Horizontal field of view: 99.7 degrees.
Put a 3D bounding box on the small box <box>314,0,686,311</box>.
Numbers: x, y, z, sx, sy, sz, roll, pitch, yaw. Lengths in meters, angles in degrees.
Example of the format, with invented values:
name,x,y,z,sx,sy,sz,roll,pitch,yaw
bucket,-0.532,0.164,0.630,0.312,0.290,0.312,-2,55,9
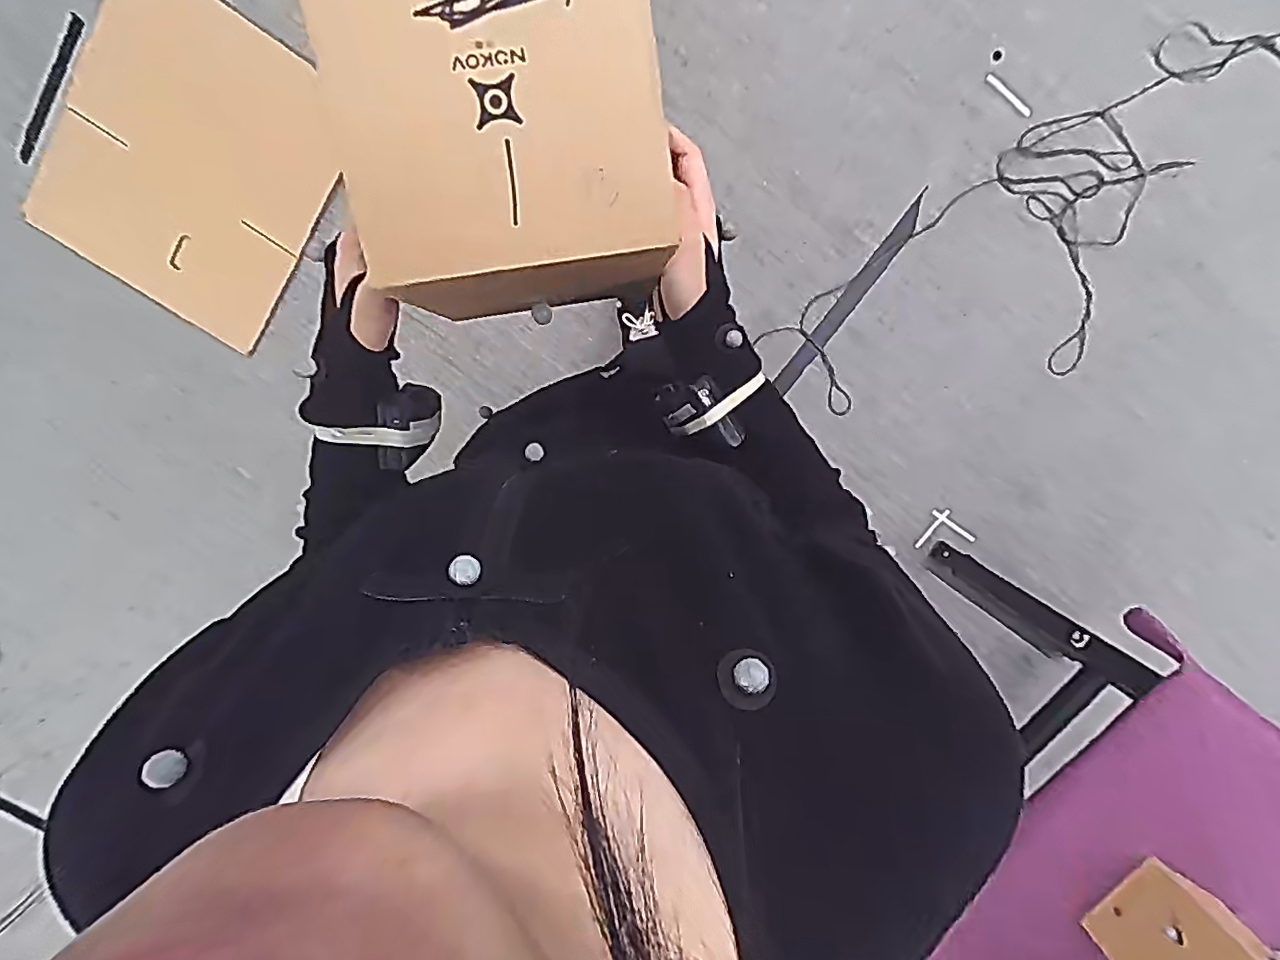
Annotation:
name,x,y,z,sx,sy,sz,roll,pitch,yaw
small box,-0.074,-0.215,0.341,0.168,0.176,0.179,-9,102,-2

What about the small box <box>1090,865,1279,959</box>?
name,x,y,z,sx,sy,sz,roll,pitch,yaw
small box,0.865,0.745,0.832,0.179,0.176,0.168,34,100,-8
